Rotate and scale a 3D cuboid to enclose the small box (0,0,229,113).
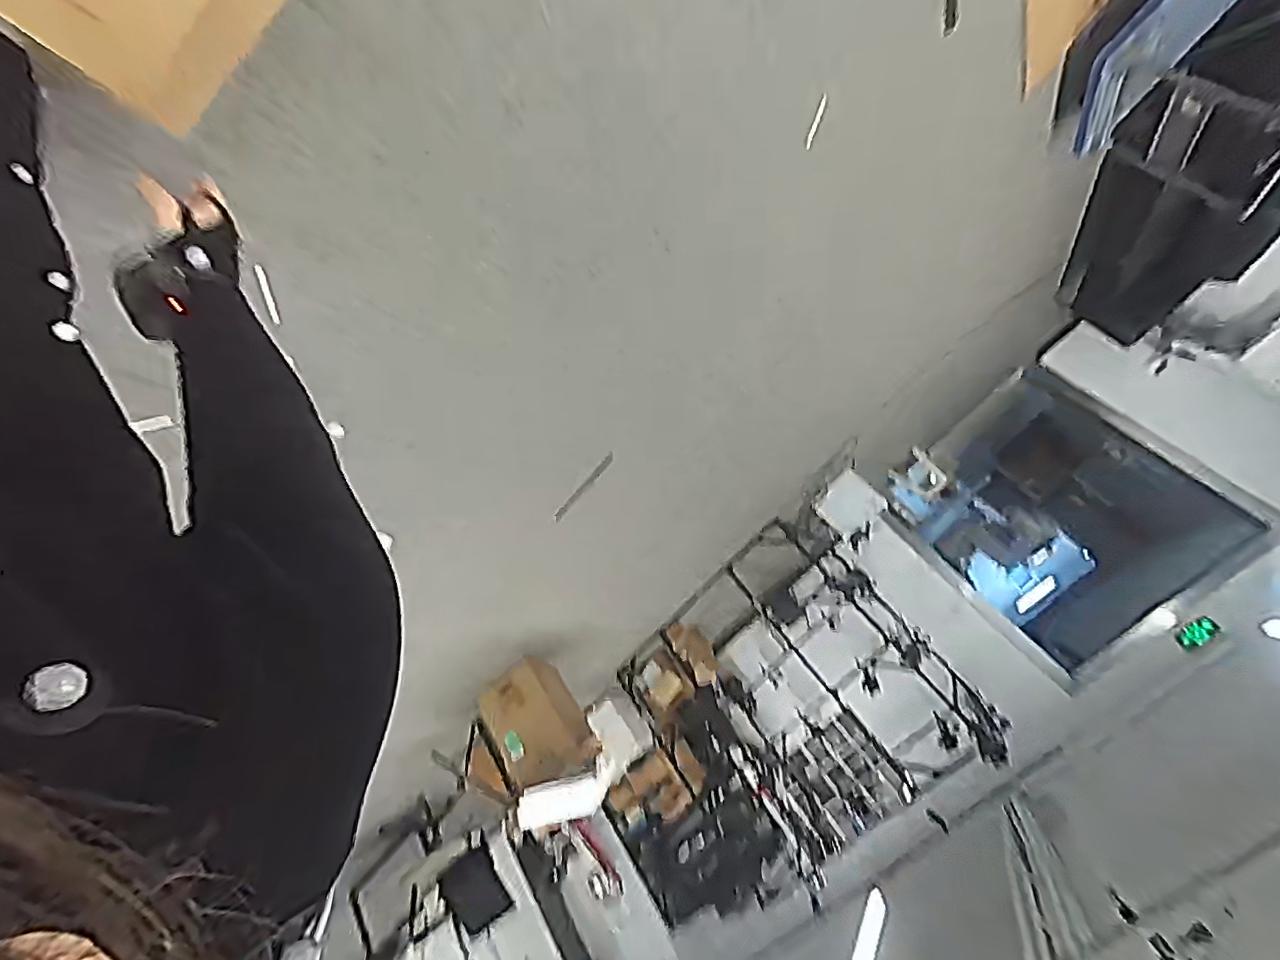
[{"bbox_3d":[-0.483,-0.476,0.463,0.179,0.176,0.168,-45,150,9],"label":"small box"}]
